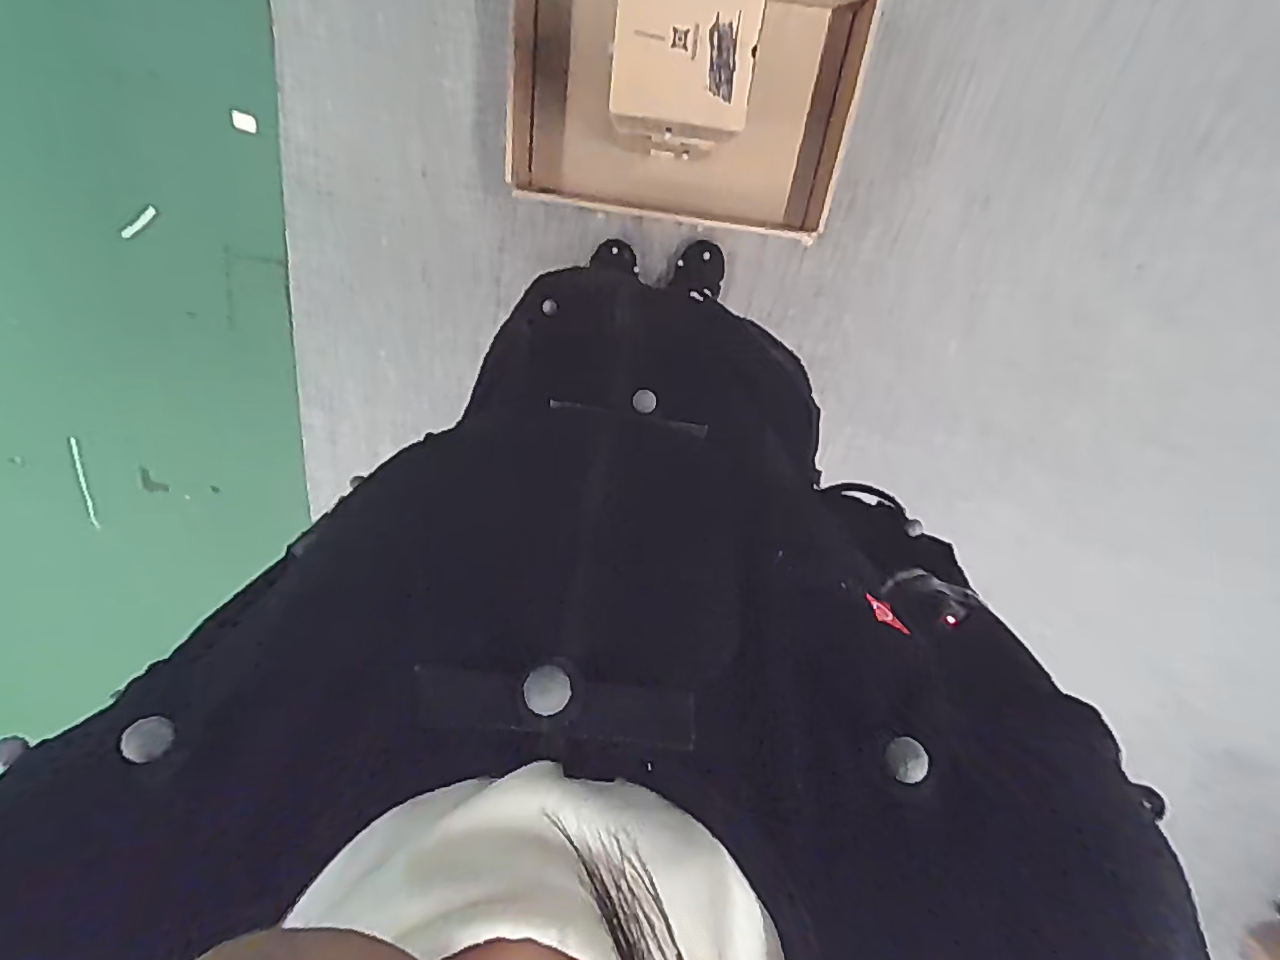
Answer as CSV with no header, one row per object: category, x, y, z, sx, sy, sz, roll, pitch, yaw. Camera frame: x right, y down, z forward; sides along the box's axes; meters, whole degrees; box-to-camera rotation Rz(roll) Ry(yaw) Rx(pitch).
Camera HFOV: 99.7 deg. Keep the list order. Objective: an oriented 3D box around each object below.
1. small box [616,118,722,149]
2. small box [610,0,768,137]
small box,0.057,-0.634,0.854,0.168,0.176,0.179,6,118,0
small box,0.060,-0.569,0.721,0.179,0.176,0.168,7,118,-1
